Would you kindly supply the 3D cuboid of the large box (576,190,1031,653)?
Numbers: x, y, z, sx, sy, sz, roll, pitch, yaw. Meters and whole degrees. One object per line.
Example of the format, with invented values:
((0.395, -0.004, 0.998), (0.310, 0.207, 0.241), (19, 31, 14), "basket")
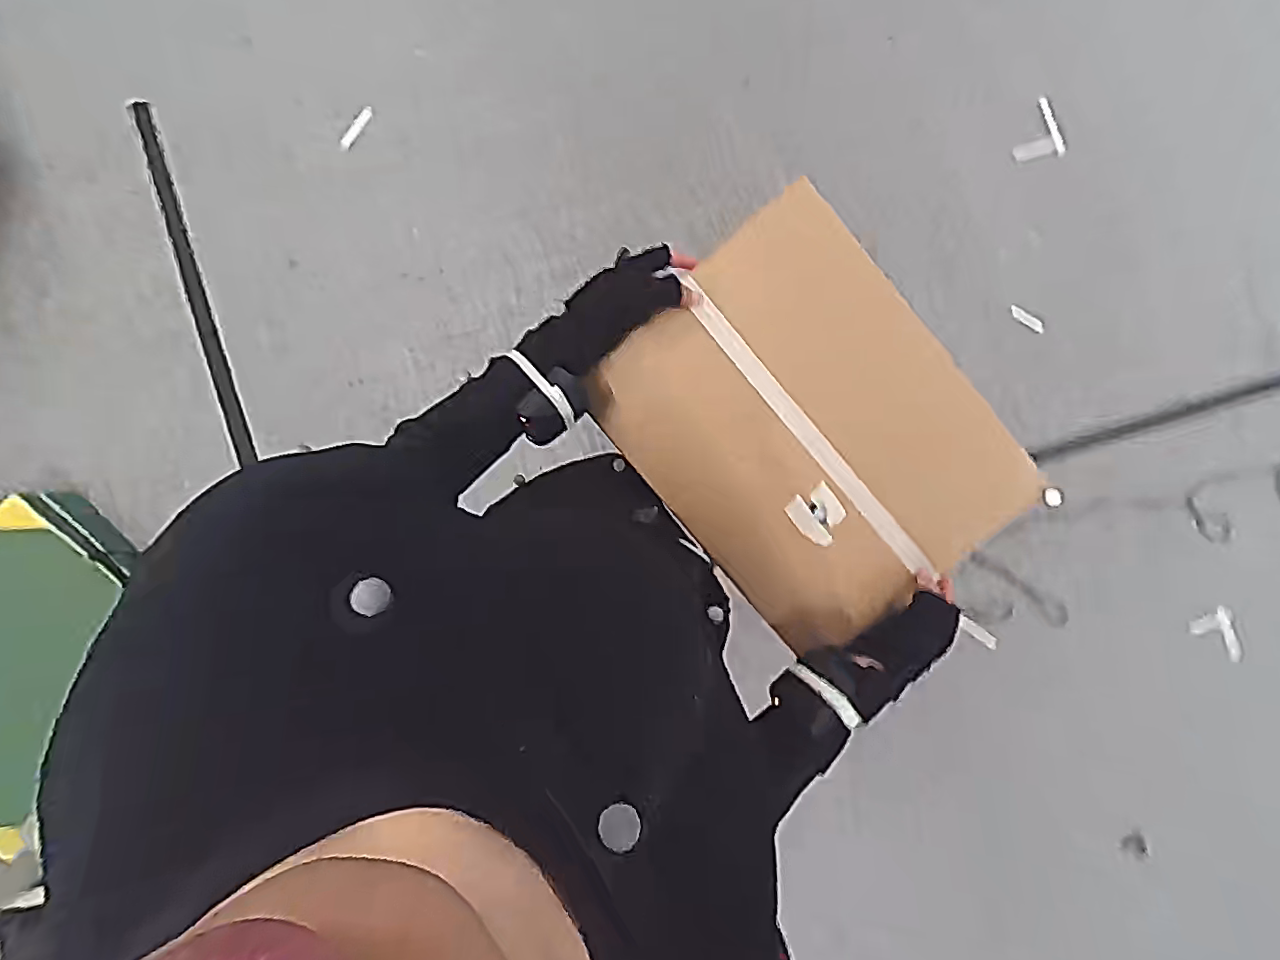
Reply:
((0.172, -0.068, 0.717), (0.320, 0.320, 0.408), (-40, 94, 5), "large box")
